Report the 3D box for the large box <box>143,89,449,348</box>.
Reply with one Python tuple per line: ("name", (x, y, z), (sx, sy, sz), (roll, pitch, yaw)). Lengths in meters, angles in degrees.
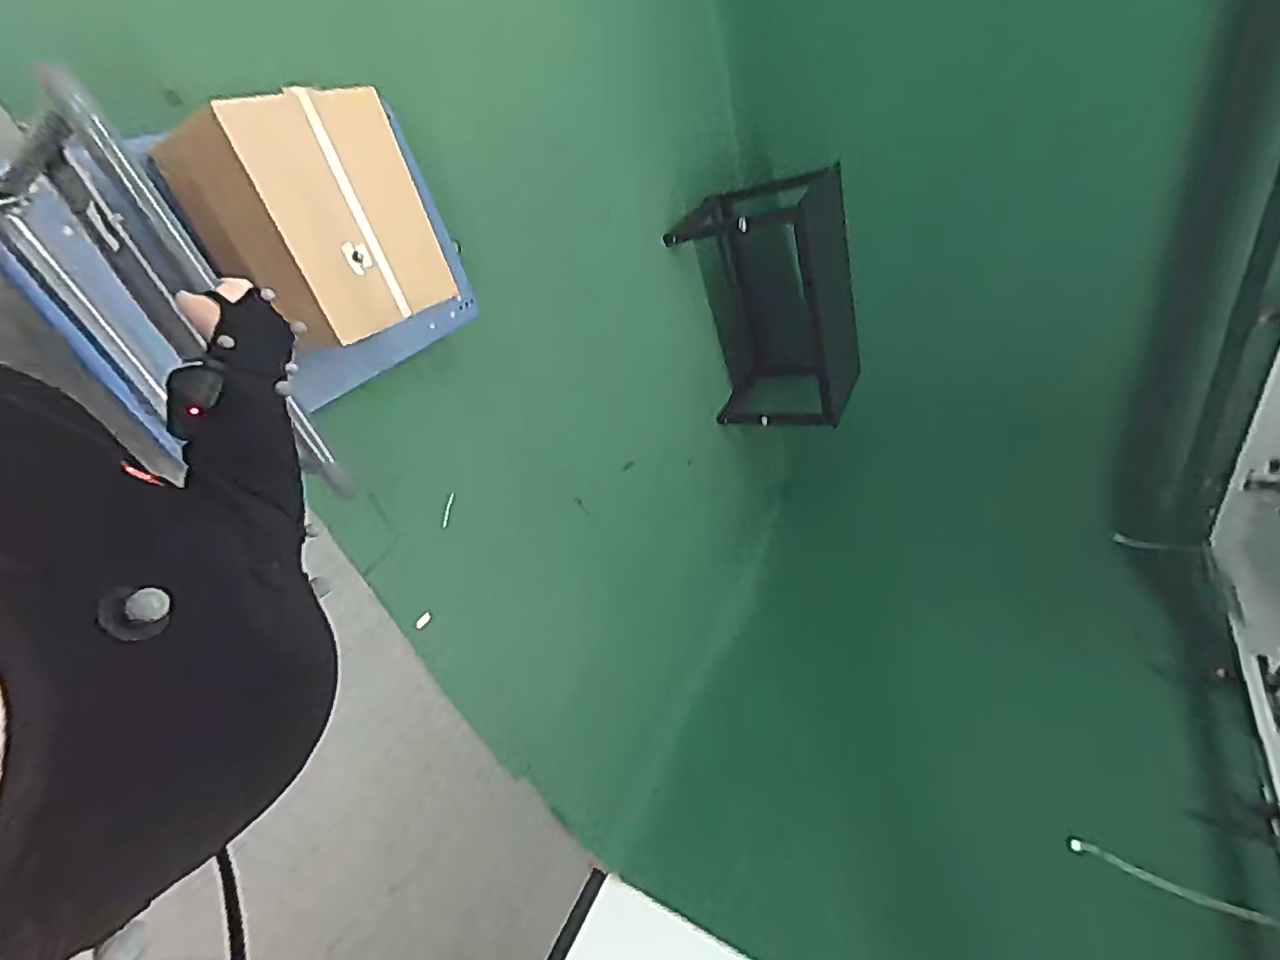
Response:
("large box", (-0.690, -0.526, 1.129), (0.320, 0.320, 0.408), (-48, 133, -42))
